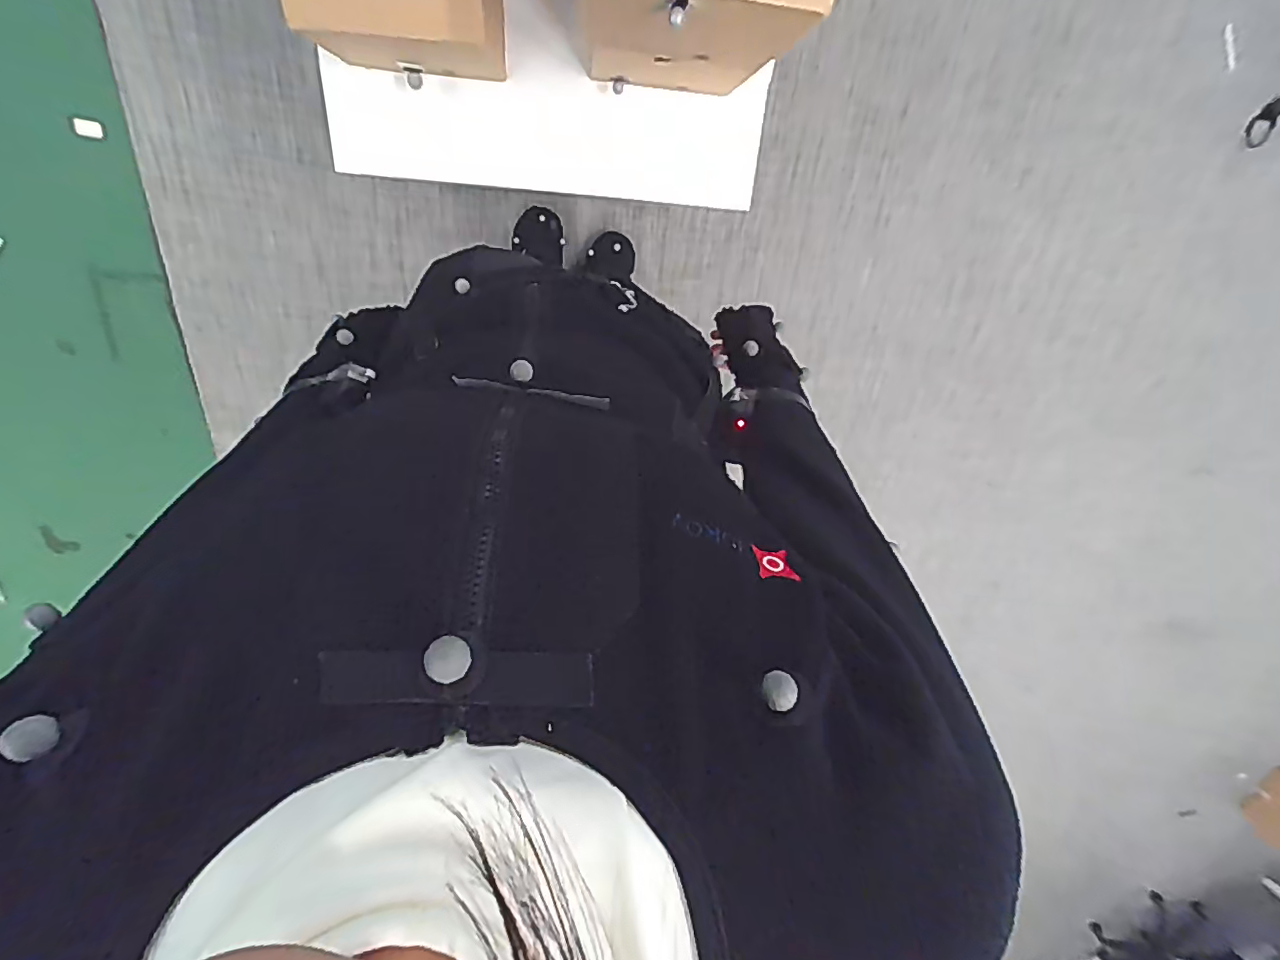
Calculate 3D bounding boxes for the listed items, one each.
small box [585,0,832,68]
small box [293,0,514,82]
[{"bbox_3d":[0.045,-0.422,0.376,0.168,0.176,0.179,3,116,-6],"label":"small box"},{"bbox_3d":[-0.214,-0.495,0.501,0.168,0.176,0.179,0,118,-4],"label":"small box"}]
